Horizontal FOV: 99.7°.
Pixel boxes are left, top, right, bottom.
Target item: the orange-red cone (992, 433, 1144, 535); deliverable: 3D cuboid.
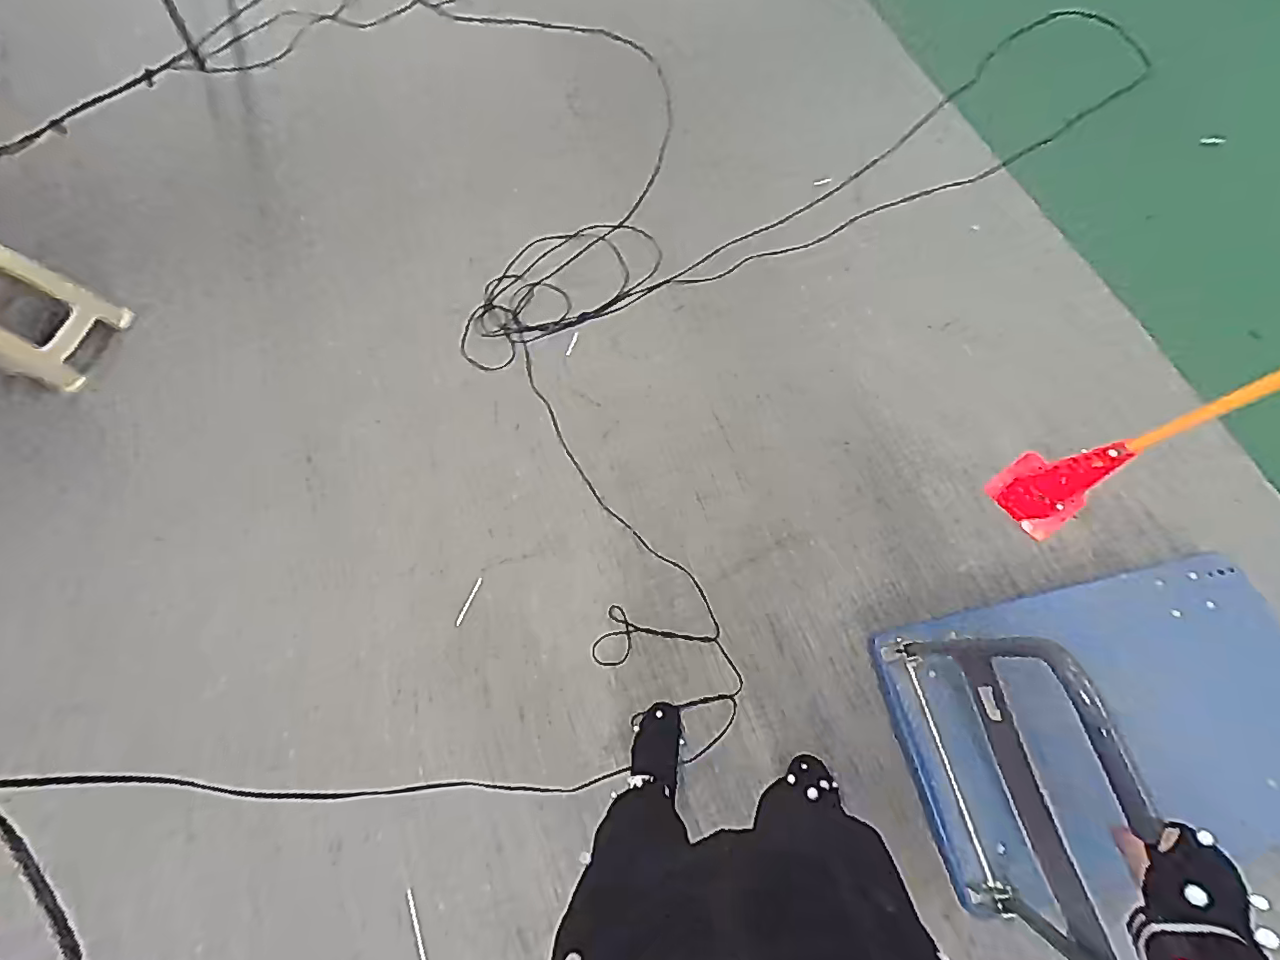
[{"bbox_3d":[1.101,-0.027,1.351,0.198,0.360,0.199,-34,70,-8],"label":"orange-red cone"}]
